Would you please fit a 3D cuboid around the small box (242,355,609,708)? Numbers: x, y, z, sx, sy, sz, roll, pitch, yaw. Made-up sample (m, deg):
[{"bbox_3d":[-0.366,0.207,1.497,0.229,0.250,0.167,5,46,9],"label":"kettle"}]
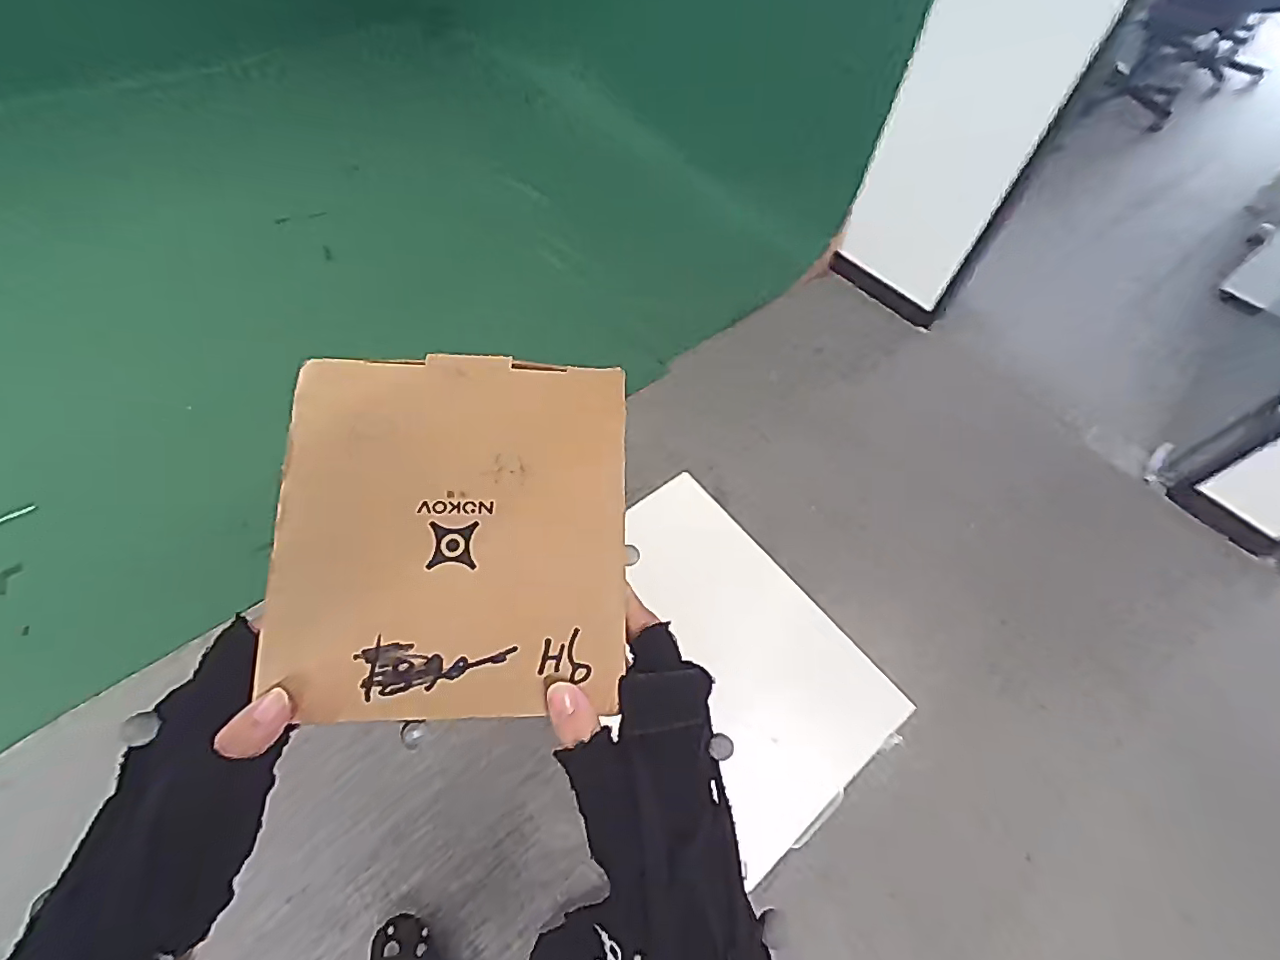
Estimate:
[{"bbox_3d":[-0.106,0.039,0.346,0.168,0.176,0.179,0,77,-5],"label":"small box"}]
